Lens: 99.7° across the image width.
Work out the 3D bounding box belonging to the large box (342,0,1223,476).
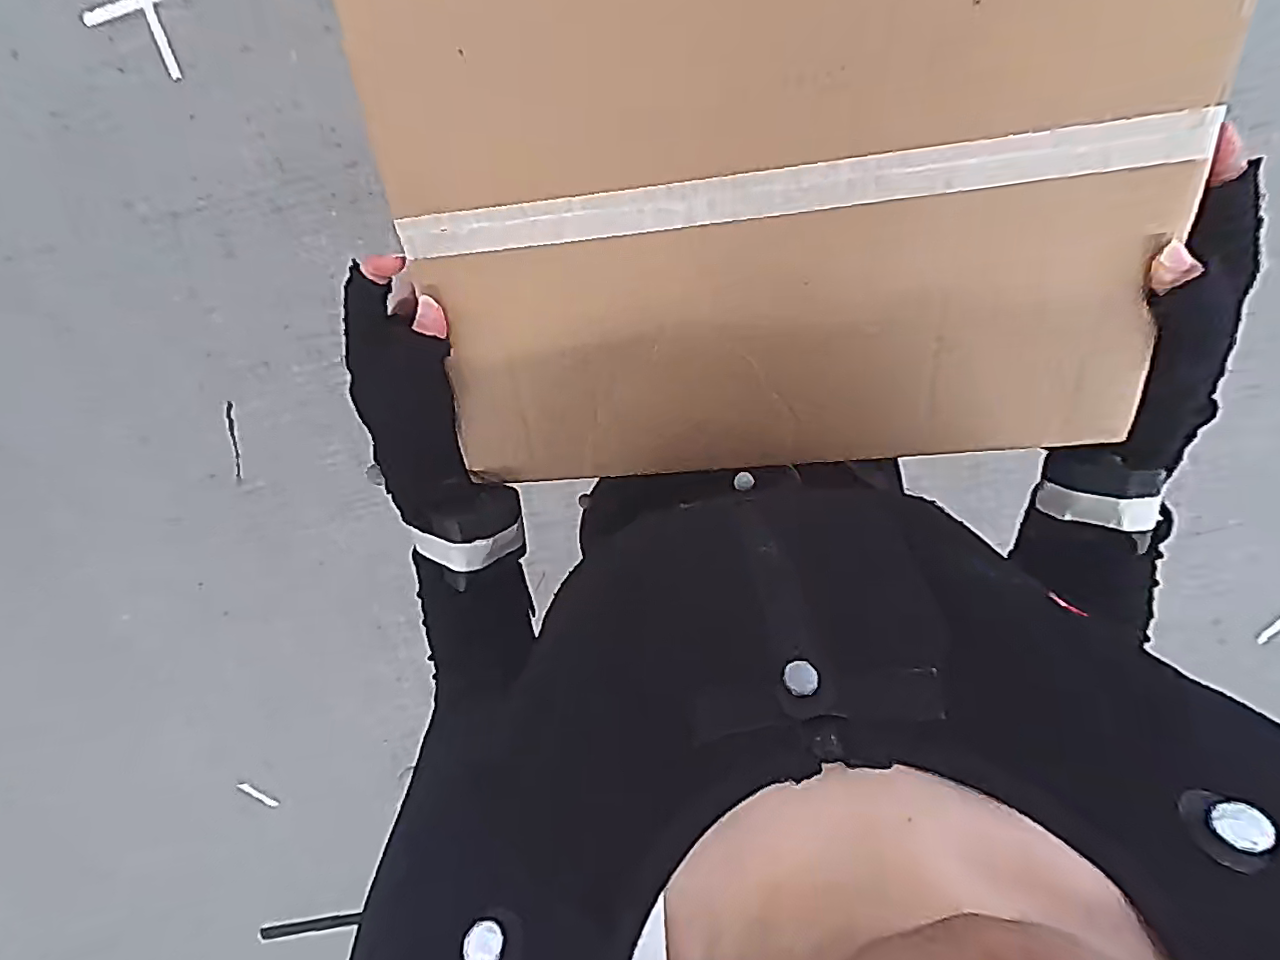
[{"bbox_3d":[0.078,-0.221,0.416,0.408,0.320,0.320,-4,116,7],"label":"large box"}]
